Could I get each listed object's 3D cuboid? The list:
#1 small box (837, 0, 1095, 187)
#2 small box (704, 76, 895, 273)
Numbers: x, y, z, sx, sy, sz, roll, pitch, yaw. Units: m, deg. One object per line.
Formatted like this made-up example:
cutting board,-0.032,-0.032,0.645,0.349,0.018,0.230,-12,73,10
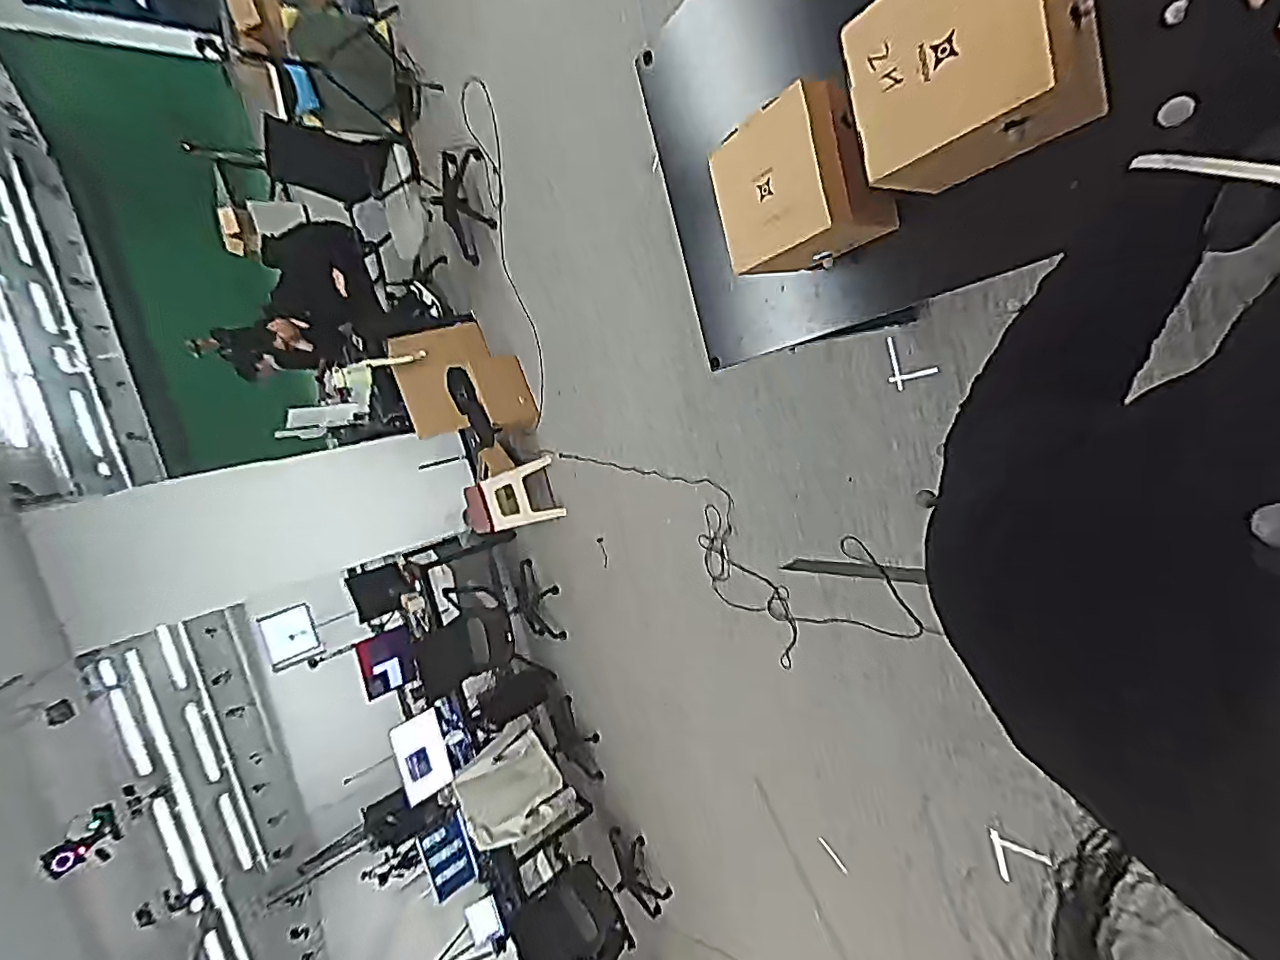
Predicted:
small box,0.341,-0.430,0.562,0.179,0.176,0.168,-5,101,54
small box,0.219,-0.402,0.743,0.168,0.176,0.179,-7,101,56
